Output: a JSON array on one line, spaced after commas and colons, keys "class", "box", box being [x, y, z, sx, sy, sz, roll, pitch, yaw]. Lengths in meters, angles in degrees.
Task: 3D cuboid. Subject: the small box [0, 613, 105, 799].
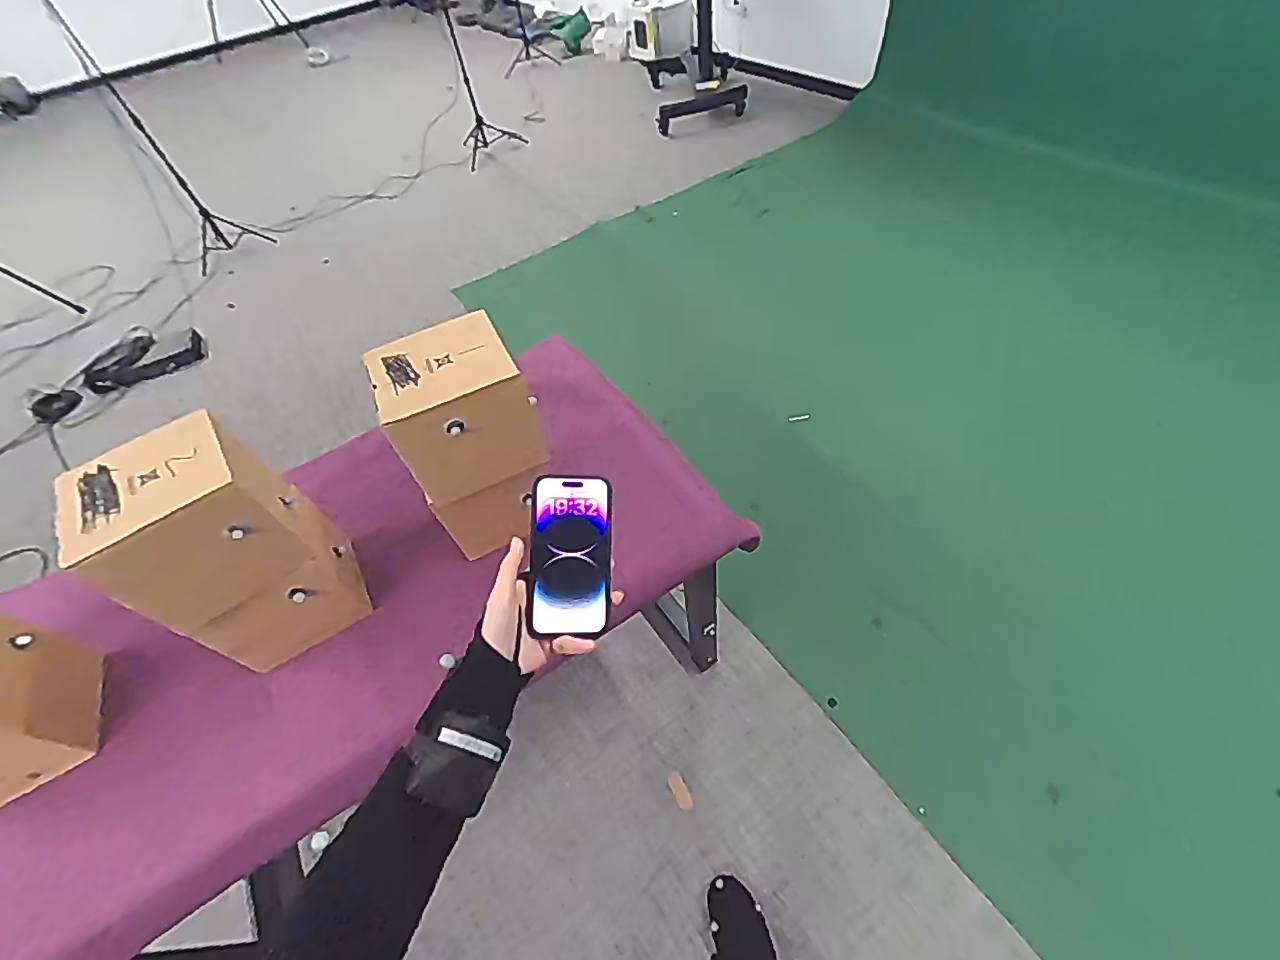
[{"class": "small box", "box": [-0.881, 0.316, 0.727, 0.168, 0.176, 0.179, -29, 54, -14]}]

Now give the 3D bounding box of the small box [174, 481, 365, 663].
[{"class": "small box", "box": [-0.541, 0.140, 0.812, 0.179, 0.176, 0.168, -30, 54, -14]}]

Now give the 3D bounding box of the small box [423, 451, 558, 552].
[{"class": "small box", "box": [-0.247, -0.014, 0.890, 0.179, 0.176, 0.168, -25, 53, -10]}]

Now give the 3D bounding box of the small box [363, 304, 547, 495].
[{"class": "small box", "box": [-0.251, -0.108, 0.755, 0.179, 0.176, 0.168, -25, 53, -11]}]
